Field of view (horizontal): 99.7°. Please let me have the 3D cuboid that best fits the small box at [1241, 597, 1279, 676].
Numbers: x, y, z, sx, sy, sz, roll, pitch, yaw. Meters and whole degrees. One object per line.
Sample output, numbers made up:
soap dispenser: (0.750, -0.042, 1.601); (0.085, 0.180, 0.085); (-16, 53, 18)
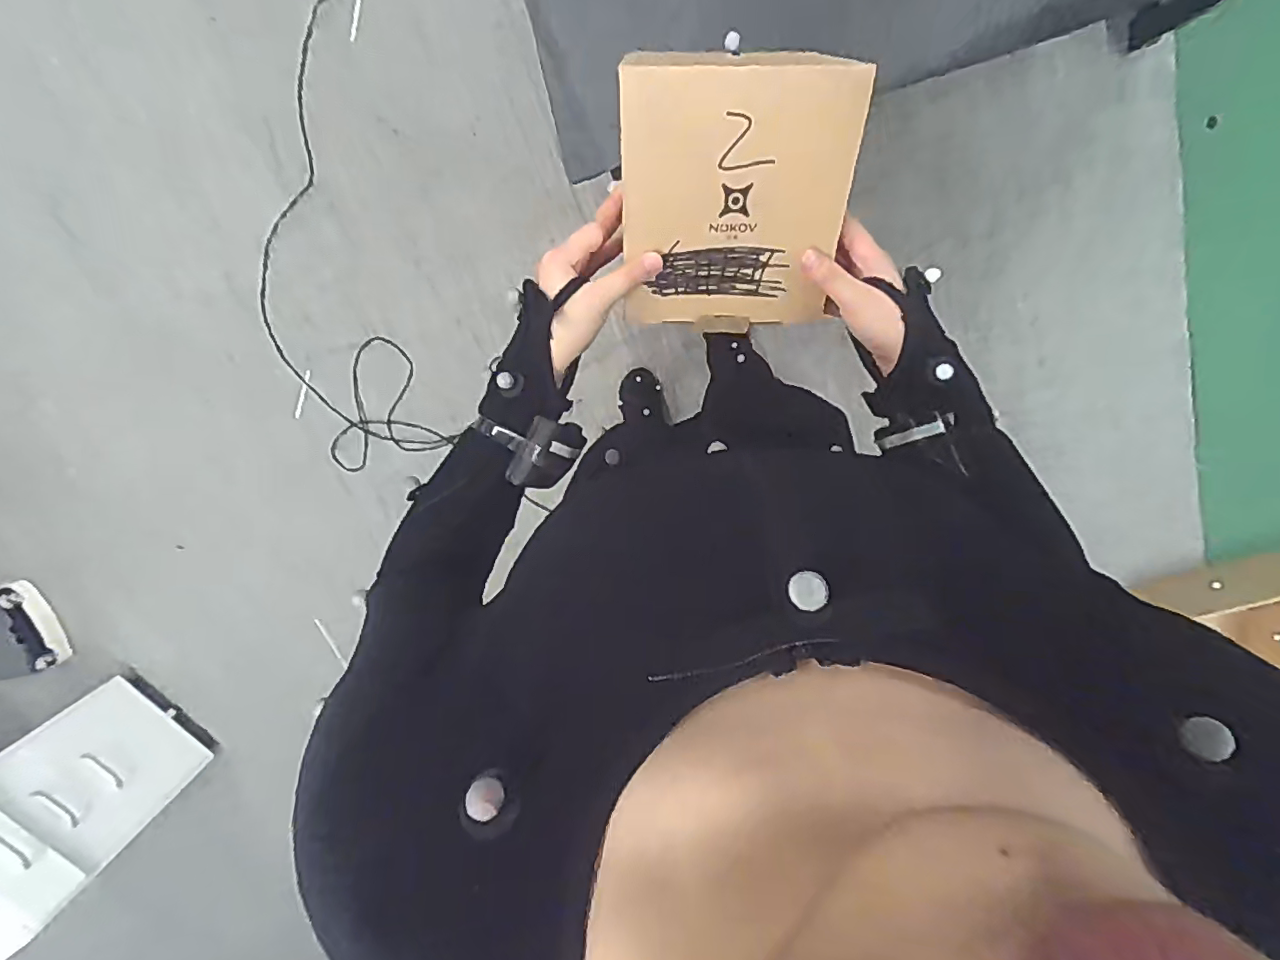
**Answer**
small box: (1.758, 0.425, 1.419); (0.168, 0.176, 0.179); (-2, 106, 3)
